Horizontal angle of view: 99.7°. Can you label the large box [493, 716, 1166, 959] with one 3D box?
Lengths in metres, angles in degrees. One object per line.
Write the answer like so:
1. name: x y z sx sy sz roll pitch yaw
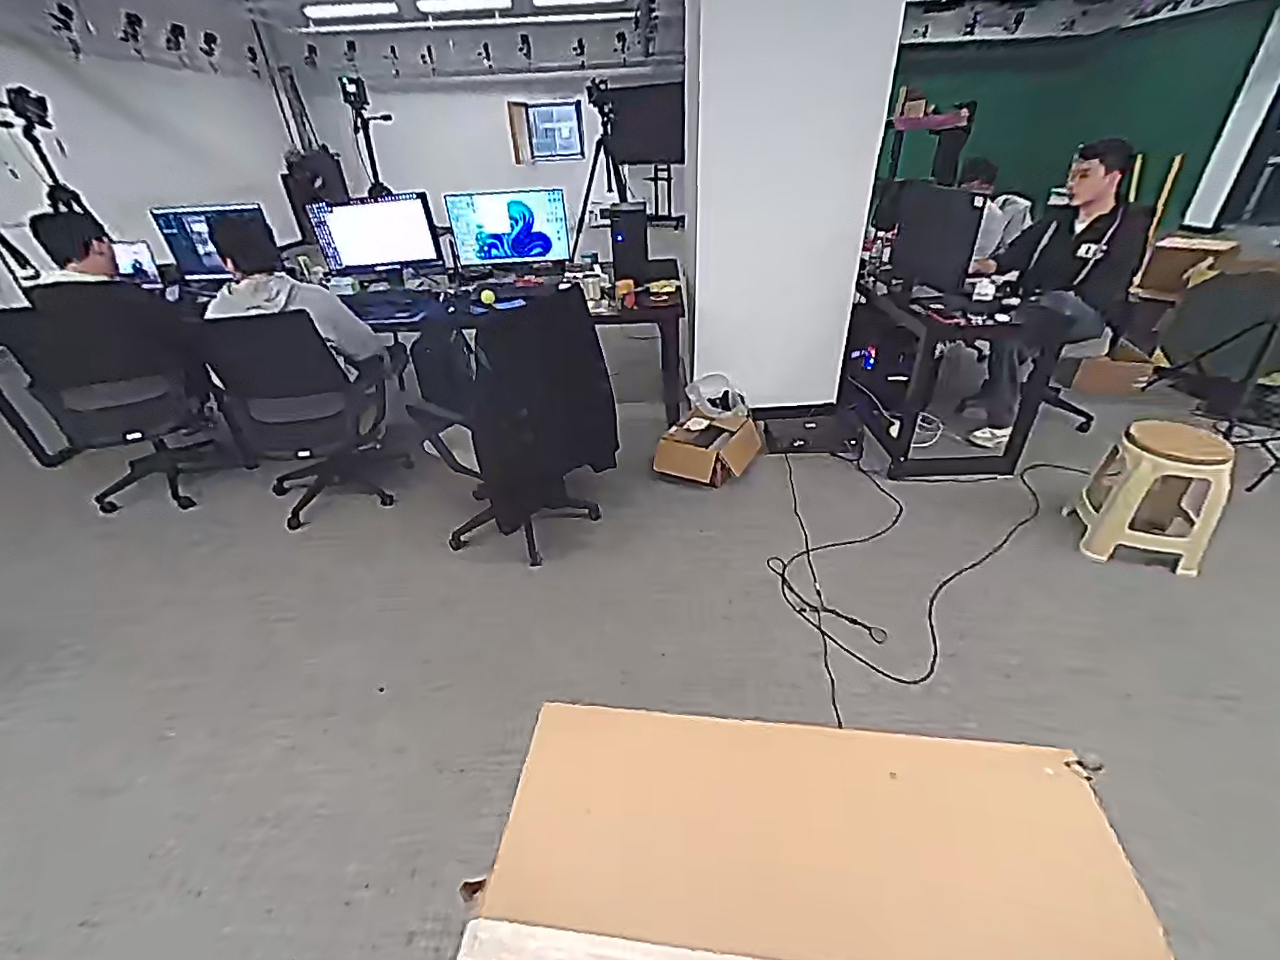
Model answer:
1. large box: 0.112 0.414 0.404 0.408 0.320 0.320 2 39 7
